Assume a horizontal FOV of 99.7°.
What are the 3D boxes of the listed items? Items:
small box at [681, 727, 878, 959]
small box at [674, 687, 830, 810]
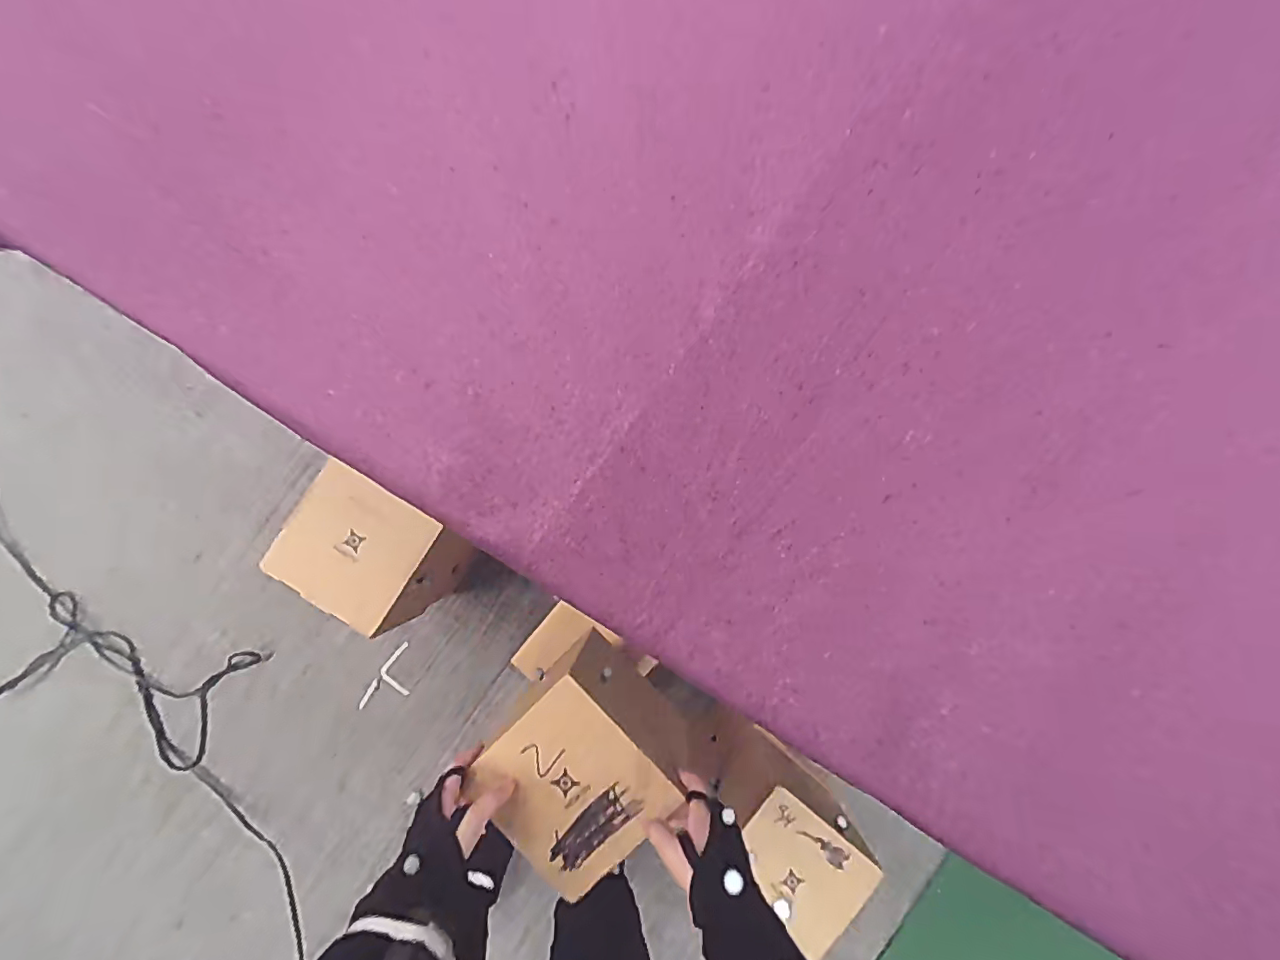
[{"bbox_3d":[0.168,0.476,0.719,0.168,0.176,0.179,41,89,0],"label":"small box"},{"bbox_3d":[0.170,0.478,0.885,0.168,0.176,0.179,44,87,2],"label":"small box"}]
